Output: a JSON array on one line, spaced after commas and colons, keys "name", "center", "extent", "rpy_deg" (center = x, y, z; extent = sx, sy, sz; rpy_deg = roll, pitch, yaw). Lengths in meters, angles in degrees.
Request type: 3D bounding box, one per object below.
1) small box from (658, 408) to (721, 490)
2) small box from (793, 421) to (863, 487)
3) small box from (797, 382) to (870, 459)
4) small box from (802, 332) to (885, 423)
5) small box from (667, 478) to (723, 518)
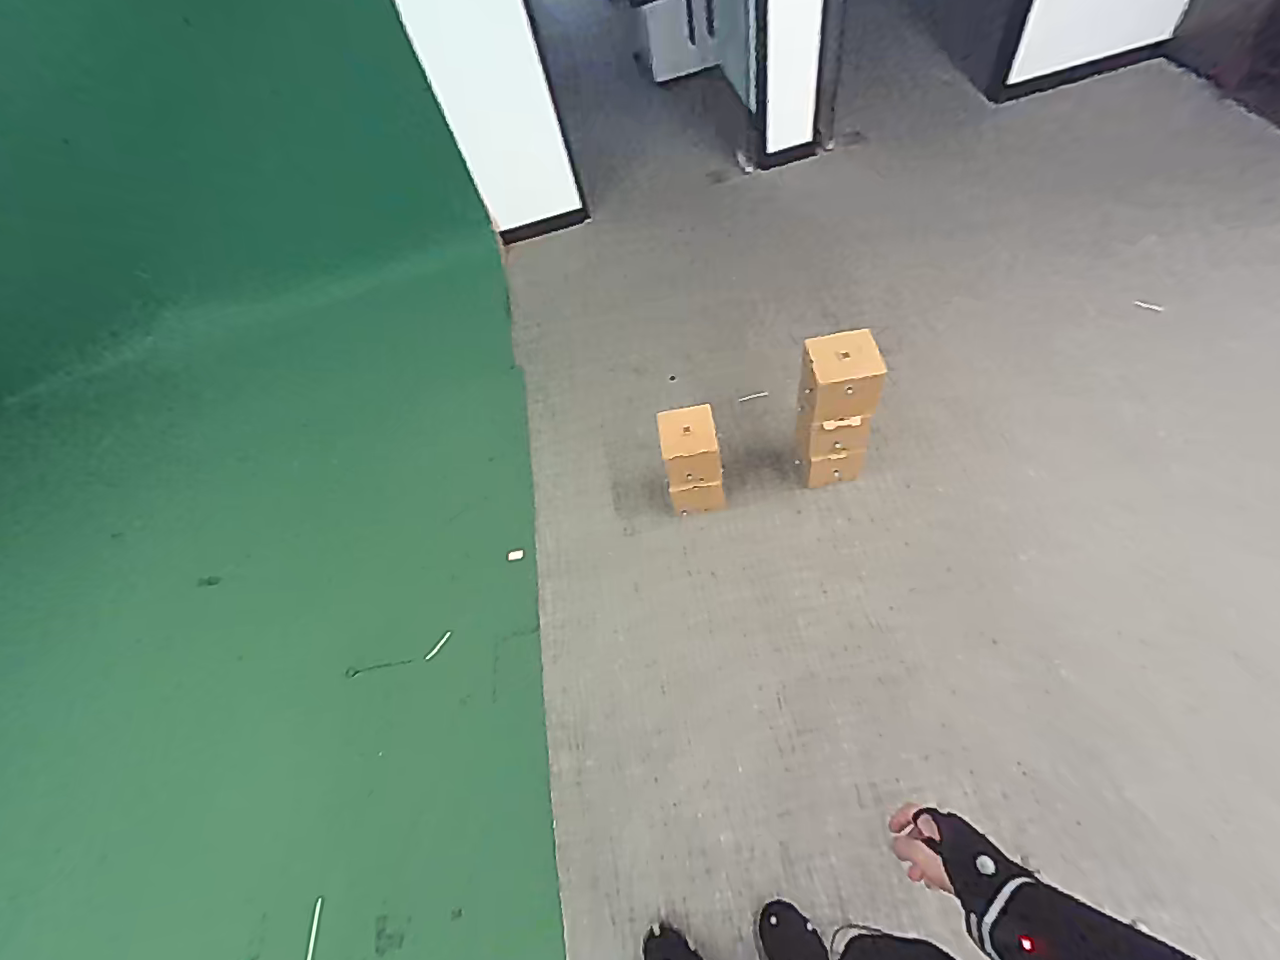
[{"name": "small box", "center": [0.153, -0.094, 1.664], "extent": [0.168, 0.176, 0.179], "rpy_deg": [-9, 57, 6]}, {"name": "small box", "center": [0.605, -0.093, 1.759], "extent": [0.168, 0.176, 0.179], "rpy_deg": [-12, 57, 5]}, {"name": "small box", "center": [0.573, -0.189, 1.629], "extent": [0.168, 0.176, 0.179], "rpy_deg": [-9, 57, 8]}, {"name": "small box", "center": [0.550, -0.276, 1.492], "extent": [0.179, 0.176, 0.168], "rpy_deg": [-9, 57, 7]}, {"name": "small box", "center": [0.182, 0.013, 1.804], "extent": [0.168, 0.176, 0.179], "rpy_deg": [-10, 56, 6]}]
